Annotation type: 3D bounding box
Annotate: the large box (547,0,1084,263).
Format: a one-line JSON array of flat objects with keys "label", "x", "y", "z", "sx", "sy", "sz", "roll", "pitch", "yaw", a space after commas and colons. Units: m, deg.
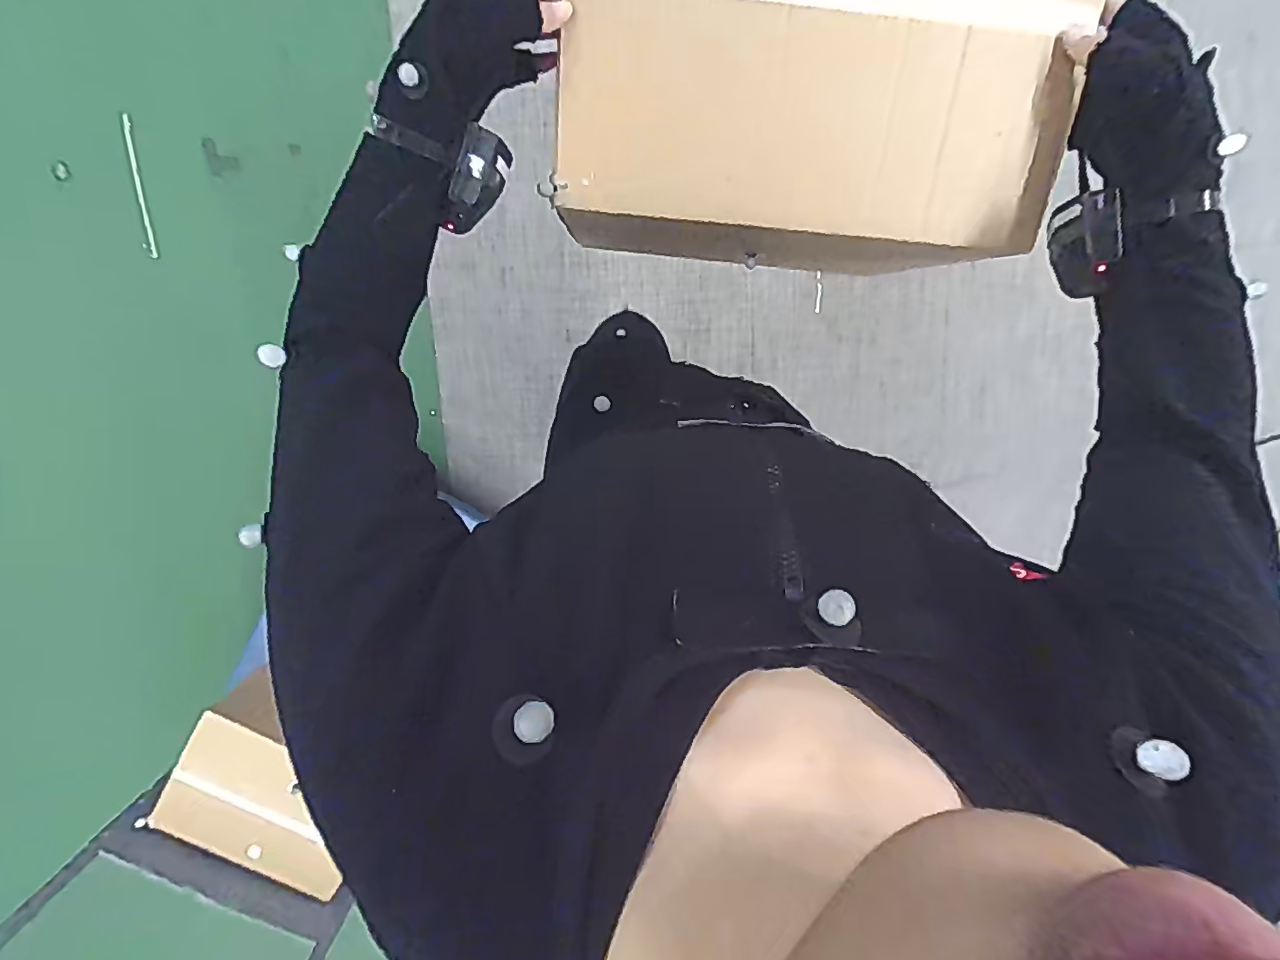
[{"label": "large box", "x": 0.131, "y": -0.402, "z": 0.543, "sx": 0.408, "sy": 0.320, "sz": 0.320, "roll": 4, "pitch": 107, "yaw": -3}]
